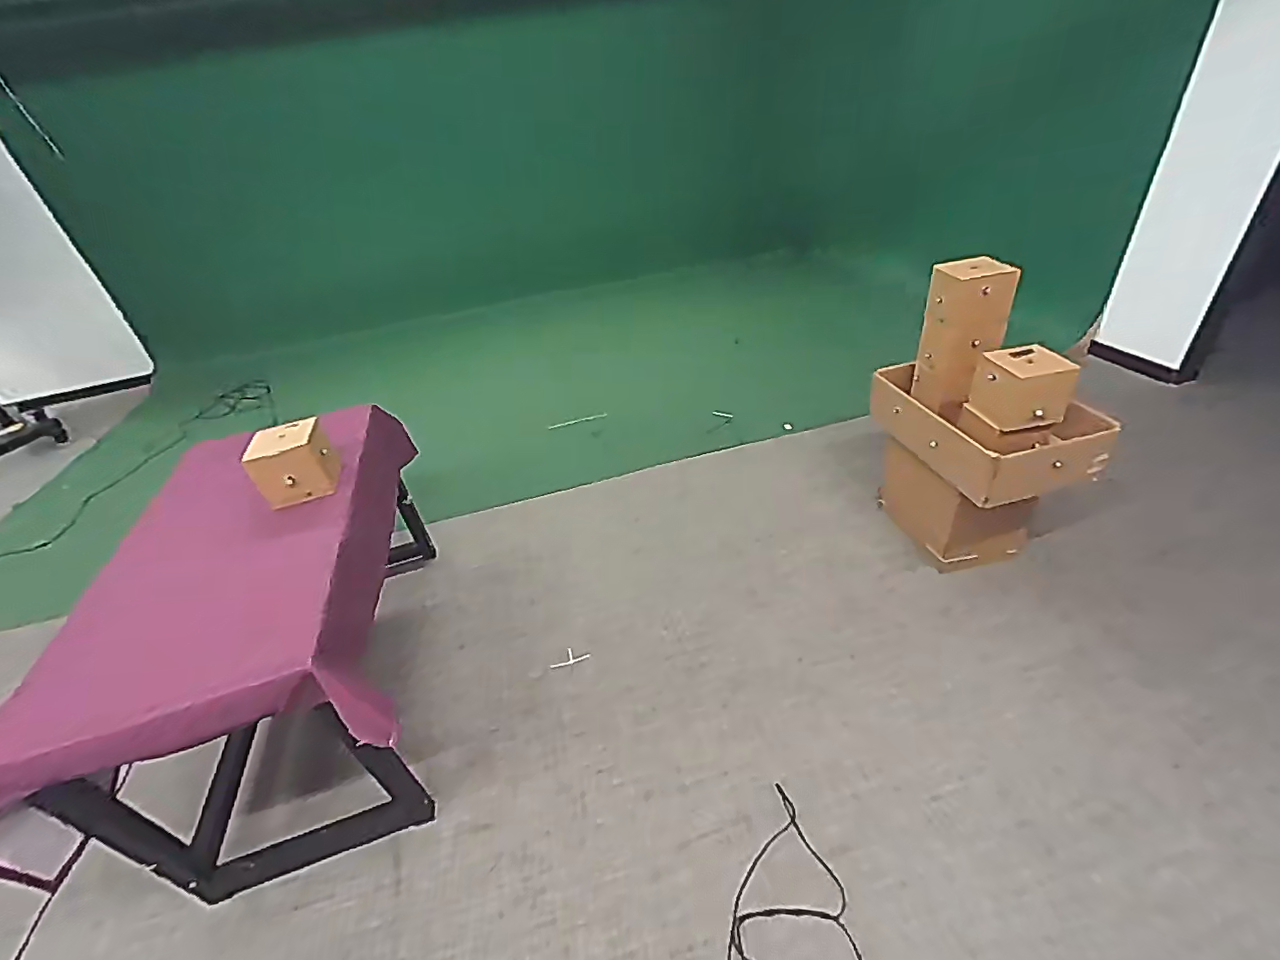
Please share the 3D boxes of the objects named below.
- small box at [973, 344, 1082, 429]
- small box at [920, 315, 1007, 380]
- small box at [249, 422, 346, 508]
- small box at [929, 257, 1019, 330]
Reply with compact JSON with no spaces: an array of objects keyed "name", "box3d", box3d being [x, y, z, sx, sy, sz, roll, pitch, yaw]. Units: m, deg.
[{"name":"small box","box3d":[1.081,-0.266,1.528,0.168,0.176,0.179,-10,36,0]},{"name":"small box","box3d":[1.059,-0.447,1.786,0.179,0.176,0.168,-11,36,-1]},{"name":"small box","box3d":[-0.967,-0.037,1.547,0.168,0.176,0.179,-17,37,-10]},{"name":"small box","box3d":[1.033,-0.581,1.693,0.179,0.176,0.168,-10,36,-1]}]
